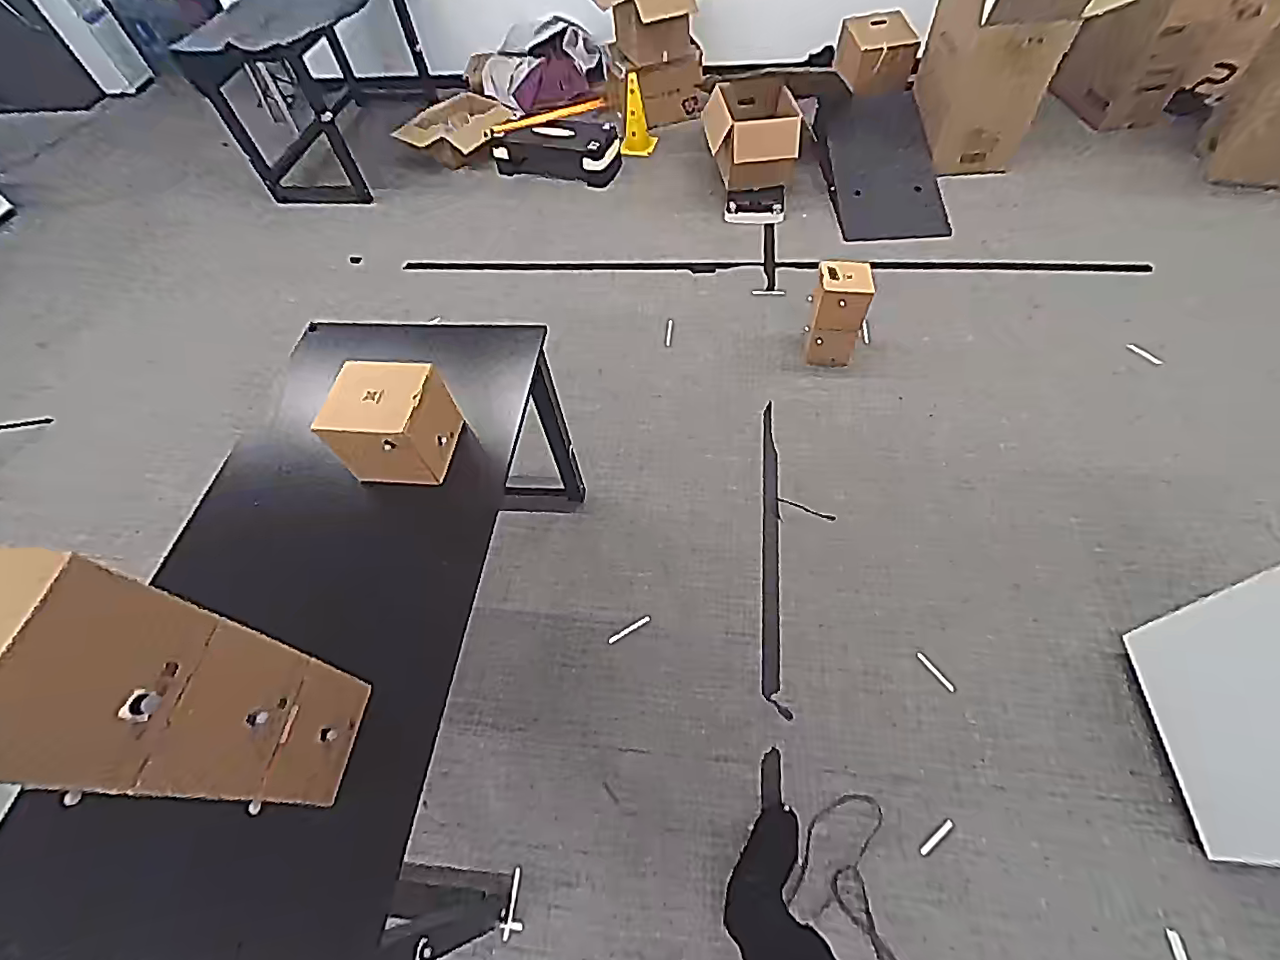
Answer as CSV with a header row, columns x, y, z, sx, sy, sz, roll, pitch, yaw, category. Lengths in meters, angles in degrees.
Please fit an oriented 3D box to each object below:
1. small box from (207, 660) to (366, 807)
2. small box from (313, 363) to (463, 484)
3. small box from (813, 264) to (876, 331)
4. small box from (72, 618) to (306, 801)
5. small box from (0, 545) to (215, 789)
x,y,z,sx,sy,sz,roll,pitch,yaw,category
-0.515,0.345,0.741,0.179,0.176,0.168,2,57,5,small box
-0.467,-0.104,1.031,0.179,0.176,0.168,3,57,6,small box
0.733,-0.660,1.960,0.179,0.176,0.168,4,57,6,small box
-0.529,0.255,0.604,0.179,0.176,0.168,2,58,6,small box
-0.539,0.165,0.469,0.179,0.176,0.168,2,58,6,small box
